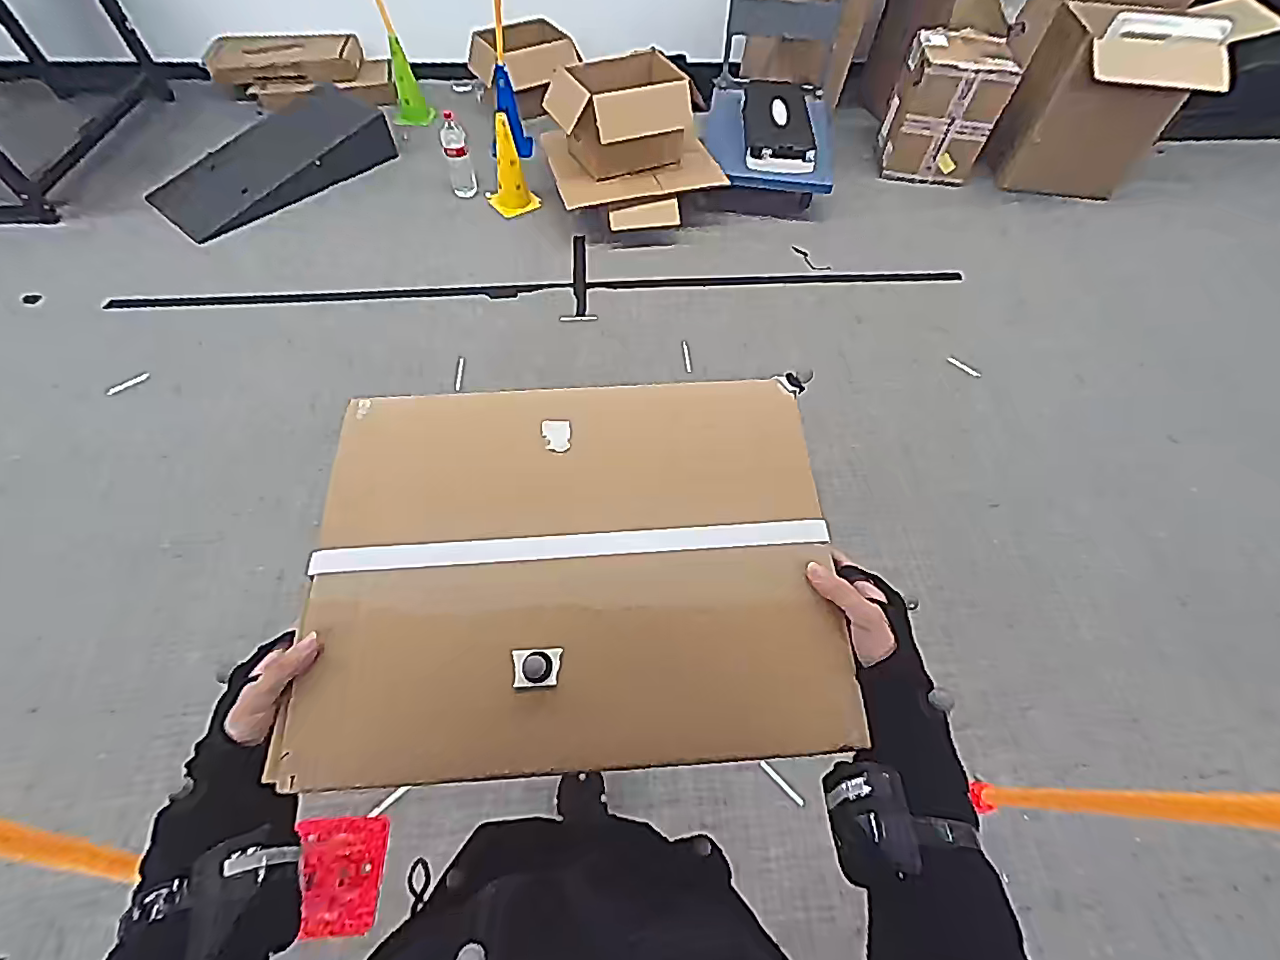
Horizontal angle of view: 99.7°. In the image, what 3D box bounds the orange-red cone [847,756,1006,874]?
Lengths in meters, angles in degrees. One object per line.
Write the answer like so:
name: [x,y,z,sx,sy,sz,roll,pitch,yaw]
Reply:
orange-red cone: [0.583,0.636,1.044,0.199,0.360,0.198,-10,58,-10]
